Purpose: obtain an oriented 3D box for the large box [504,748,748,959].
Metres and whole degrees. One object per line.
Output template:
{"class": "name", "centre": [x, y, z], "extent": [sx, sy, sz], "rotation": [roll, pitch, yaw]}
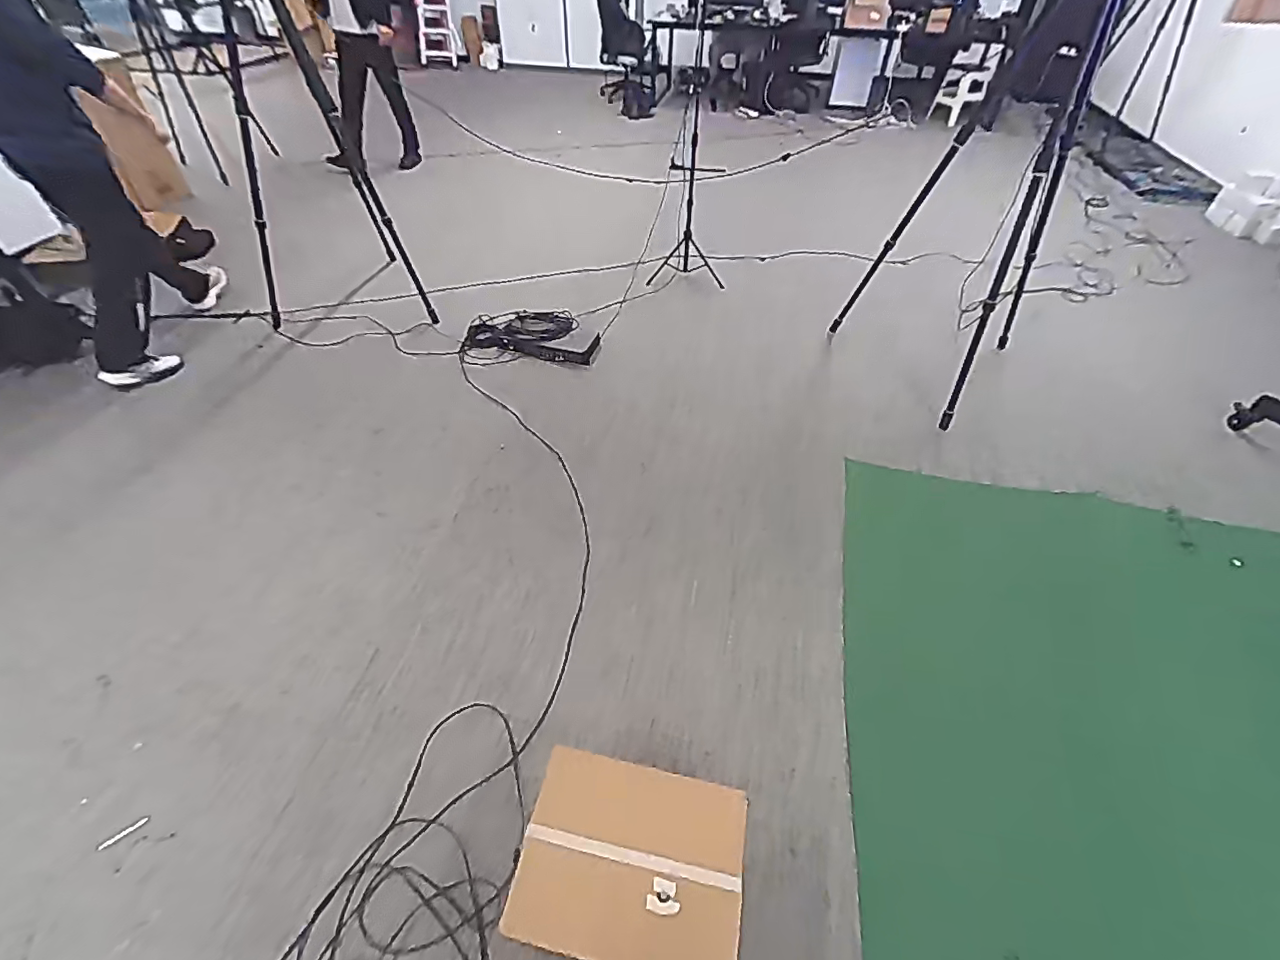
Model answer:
{"class": "large box", "centre": [-0.017, 0.797, 1.099], "extent": [0.408, 0.320, 0.320], "rotation": [11, 47, 7]}
